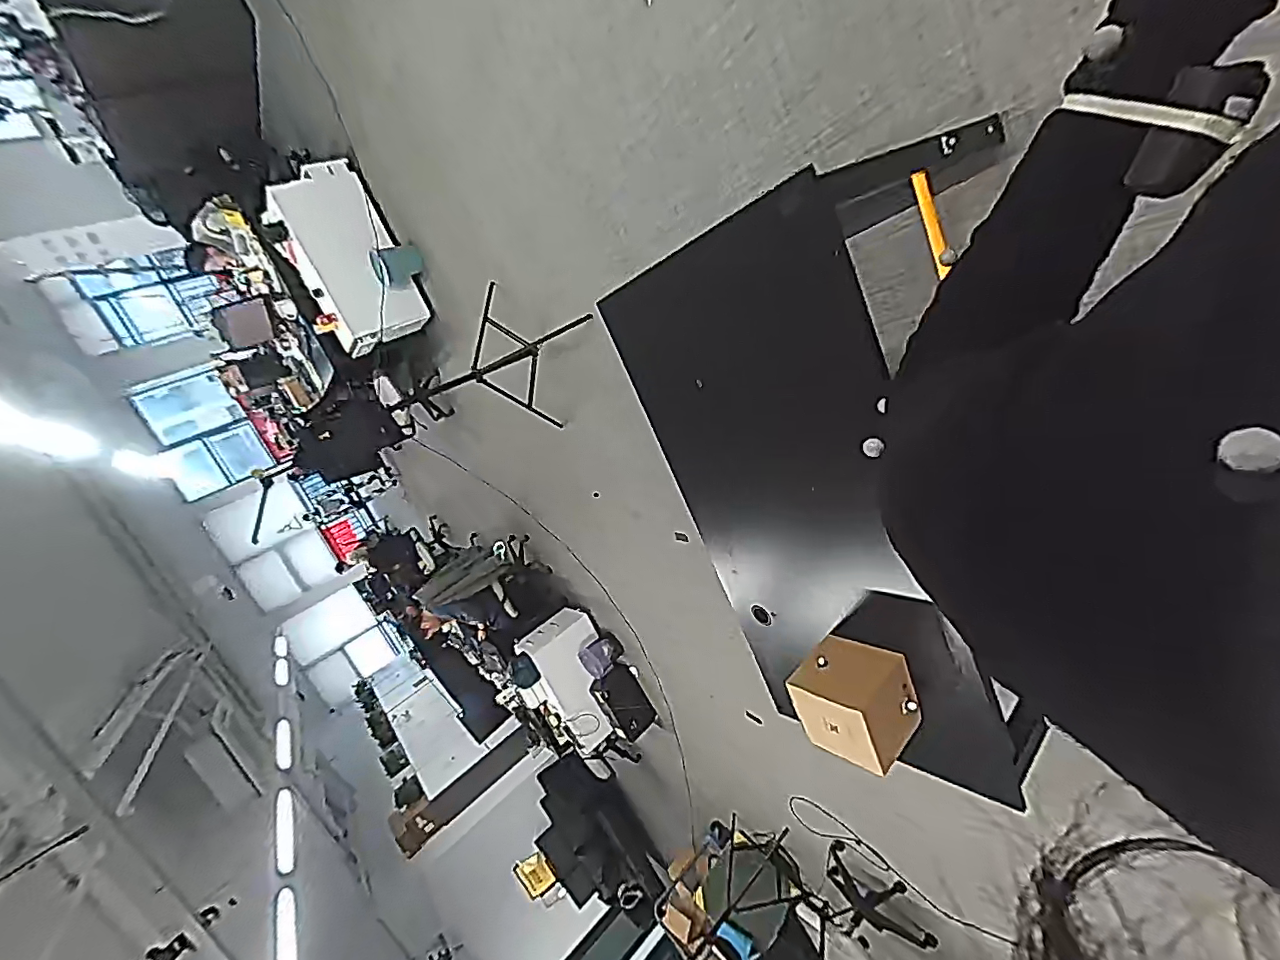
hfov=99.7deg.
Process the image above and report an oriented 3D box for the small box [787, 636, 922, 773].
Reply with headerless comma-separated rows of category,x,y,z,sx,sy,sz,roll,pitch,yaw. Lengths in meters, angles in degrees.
small box,0.441,0.446,1.108,0.179,0.176,0.168,0,119,55
